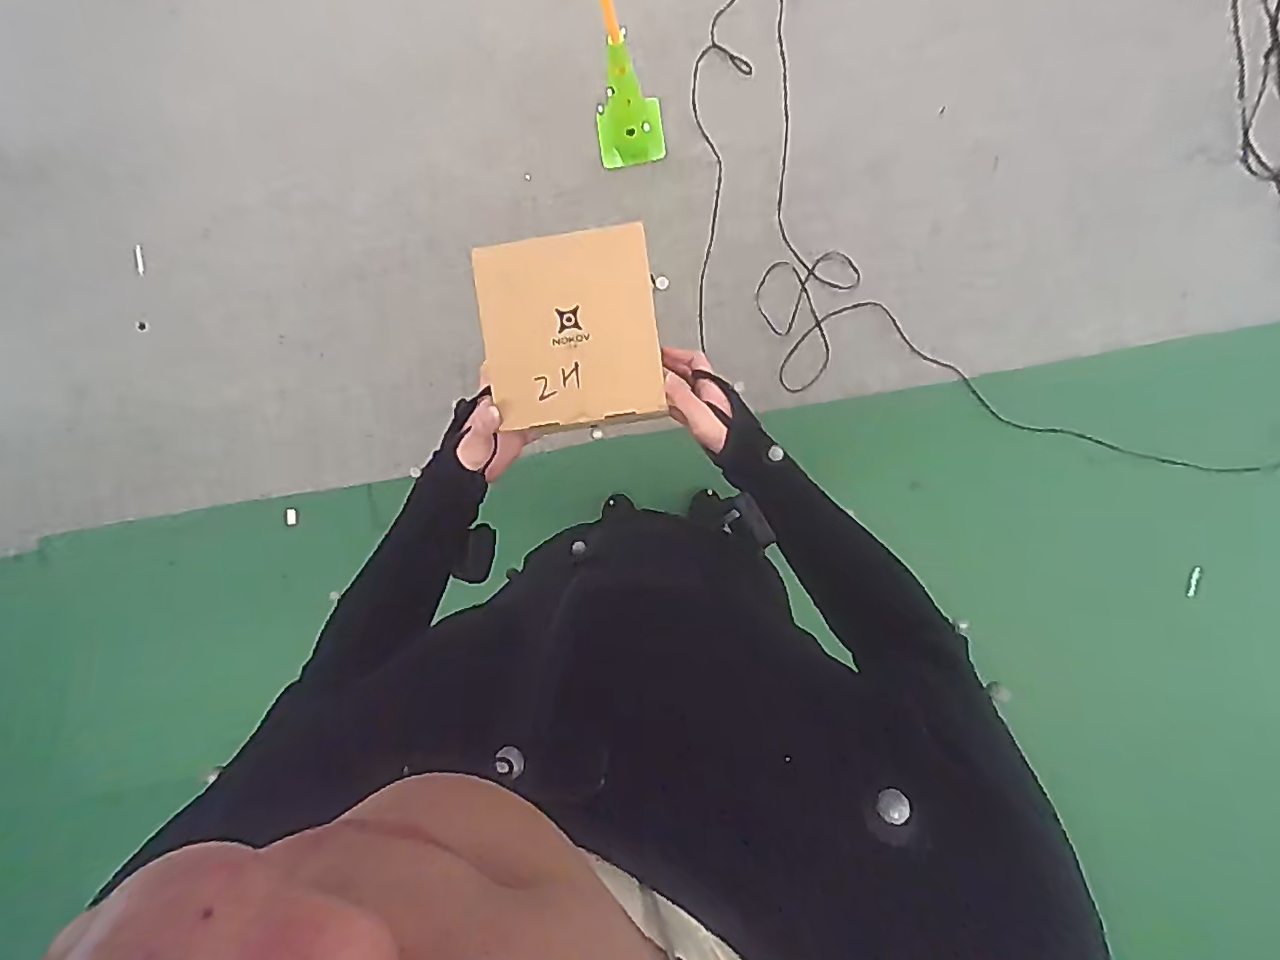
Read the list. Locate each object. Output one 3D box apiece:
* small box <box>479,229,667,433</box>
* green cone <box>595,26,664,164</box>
[{"bbox_3d":[-0.062,-0.147,0.595,0.168,0.176,0.179,-7,94,4],"label":"small box"},{"bbox_3d":[-0.044,-1.099,1.519,0.202,0.368,0.200,-8,88,3],"label":"green cone"}]
